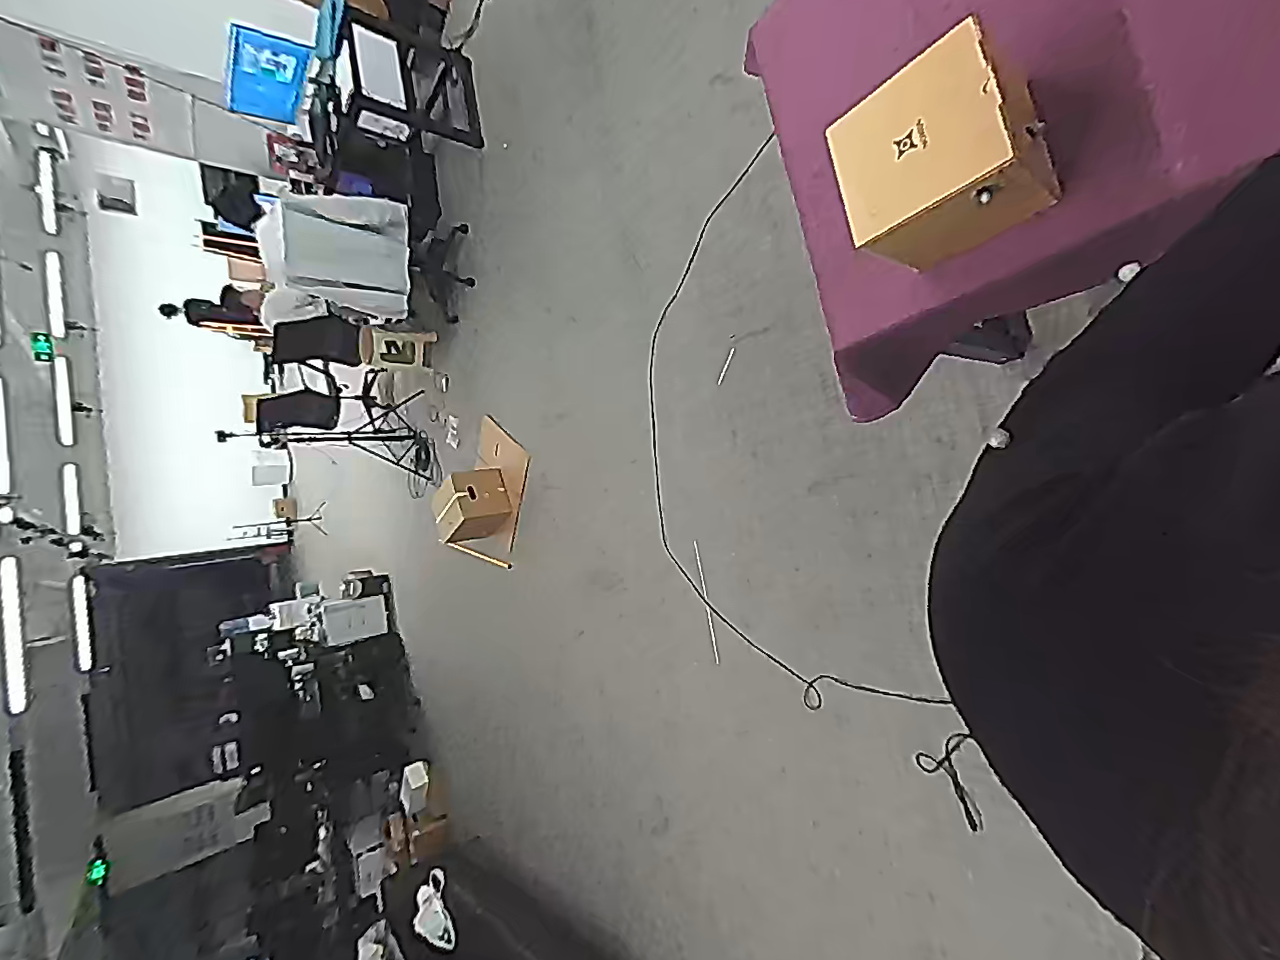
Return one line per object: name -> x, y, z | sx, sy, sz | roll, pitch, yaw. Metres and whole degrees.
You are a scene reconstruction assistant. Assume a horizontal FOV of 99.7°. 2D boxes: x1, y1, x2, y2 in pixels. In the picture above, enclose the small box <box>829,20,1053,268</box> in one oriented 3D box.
small box -> 0.369, -0.388, 0.668 | 0.179, 0.176, 0.168 | -19, 80, 48
